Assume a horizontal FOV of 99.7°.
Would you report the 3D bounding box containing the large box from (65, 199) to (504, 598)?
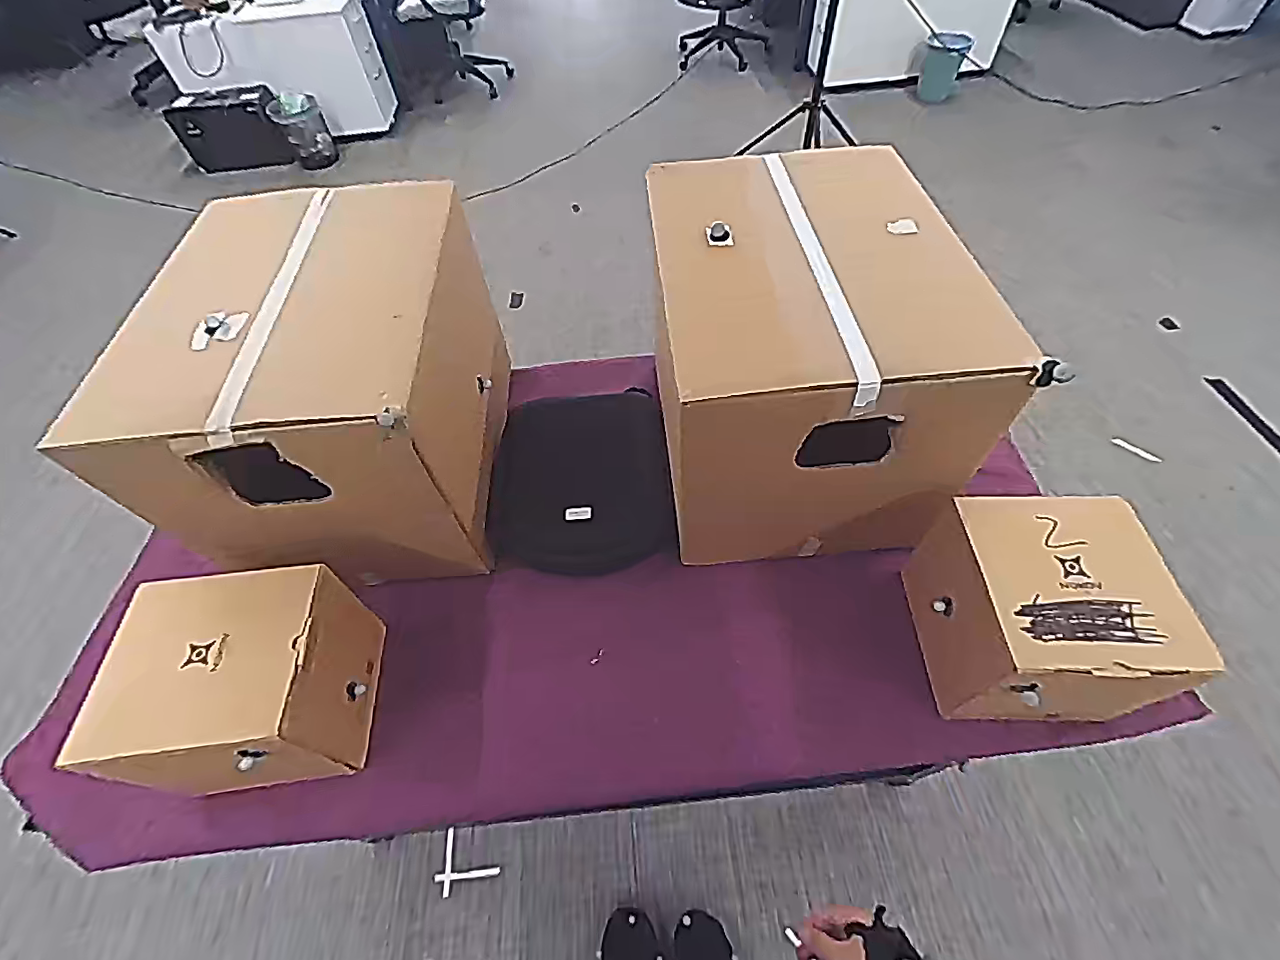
[{"bbox_3d":[-0.369,-0.102,0.706,0.320,0.320,0.408,-6,56,-1],"label":"large box"}]
